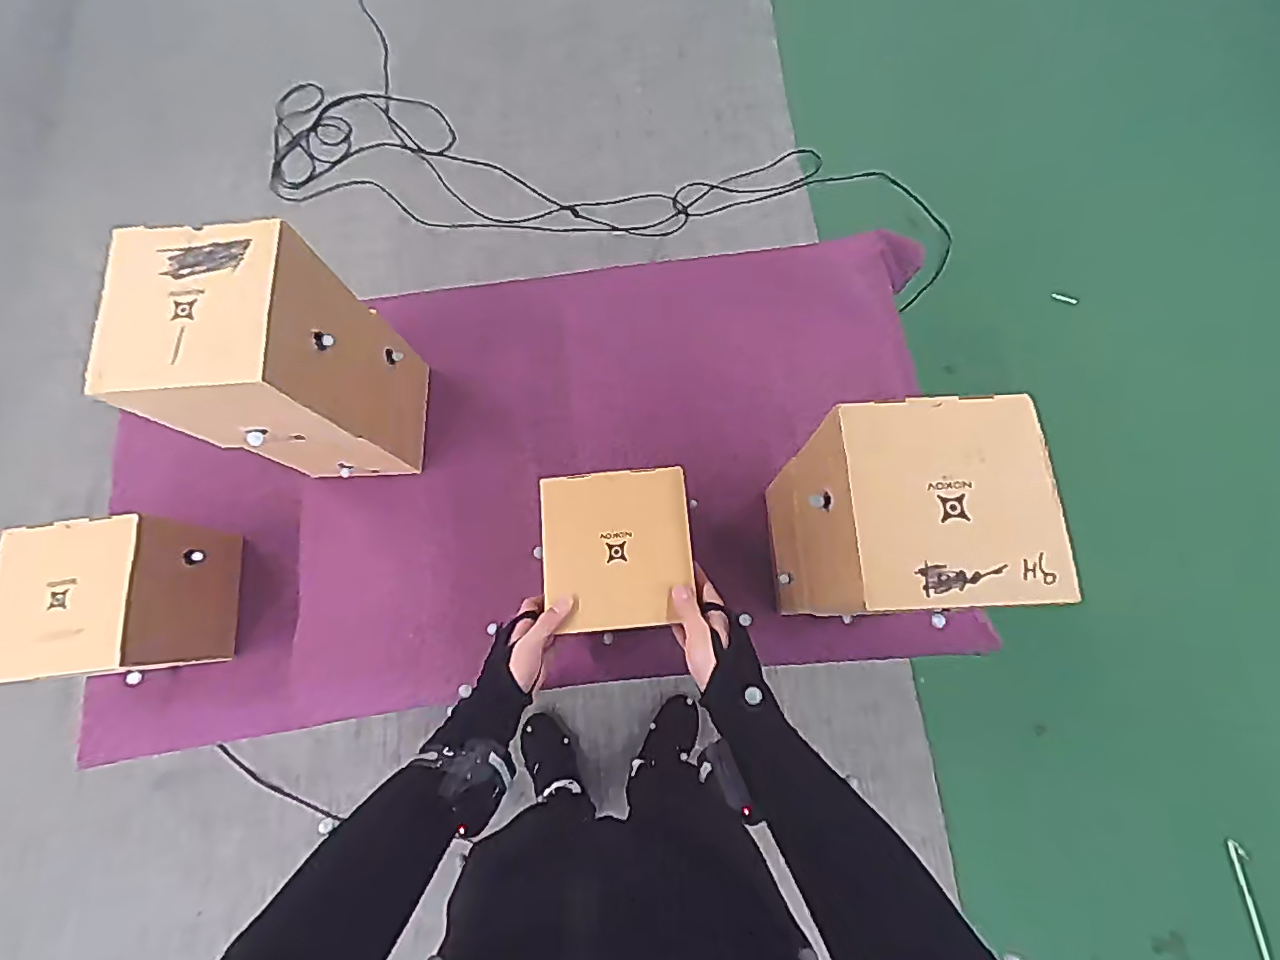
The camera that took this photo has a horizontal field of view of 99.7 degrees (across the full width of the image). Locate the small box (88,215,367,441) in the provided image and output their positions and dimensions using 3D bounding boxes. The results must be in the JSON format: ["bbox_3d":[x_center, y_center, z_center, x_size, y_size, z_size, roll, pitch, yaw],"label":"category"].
[{"bbox_3d":[-0.418,-0.152,0.584,0.168,0.176,0.179,-3,77,1],"label":"small box"}]

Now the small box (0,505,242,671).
[{"bbox_3d":[-0.650,0.141,0.688,0.168,0.176,0.179,-6,75,1],"label":"small box"}]

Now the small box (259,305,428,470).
[{"bbox_3d":[-0.408,-0.119,0.745,0.168,0.176,0.179,-1,77,2],"label":"small box"}]

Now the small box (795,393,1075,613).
[{"bbox_3d":[0.253,0.033,0.515,0.168,0.176,0.179,-2,75,3],"label":"small box"}]
